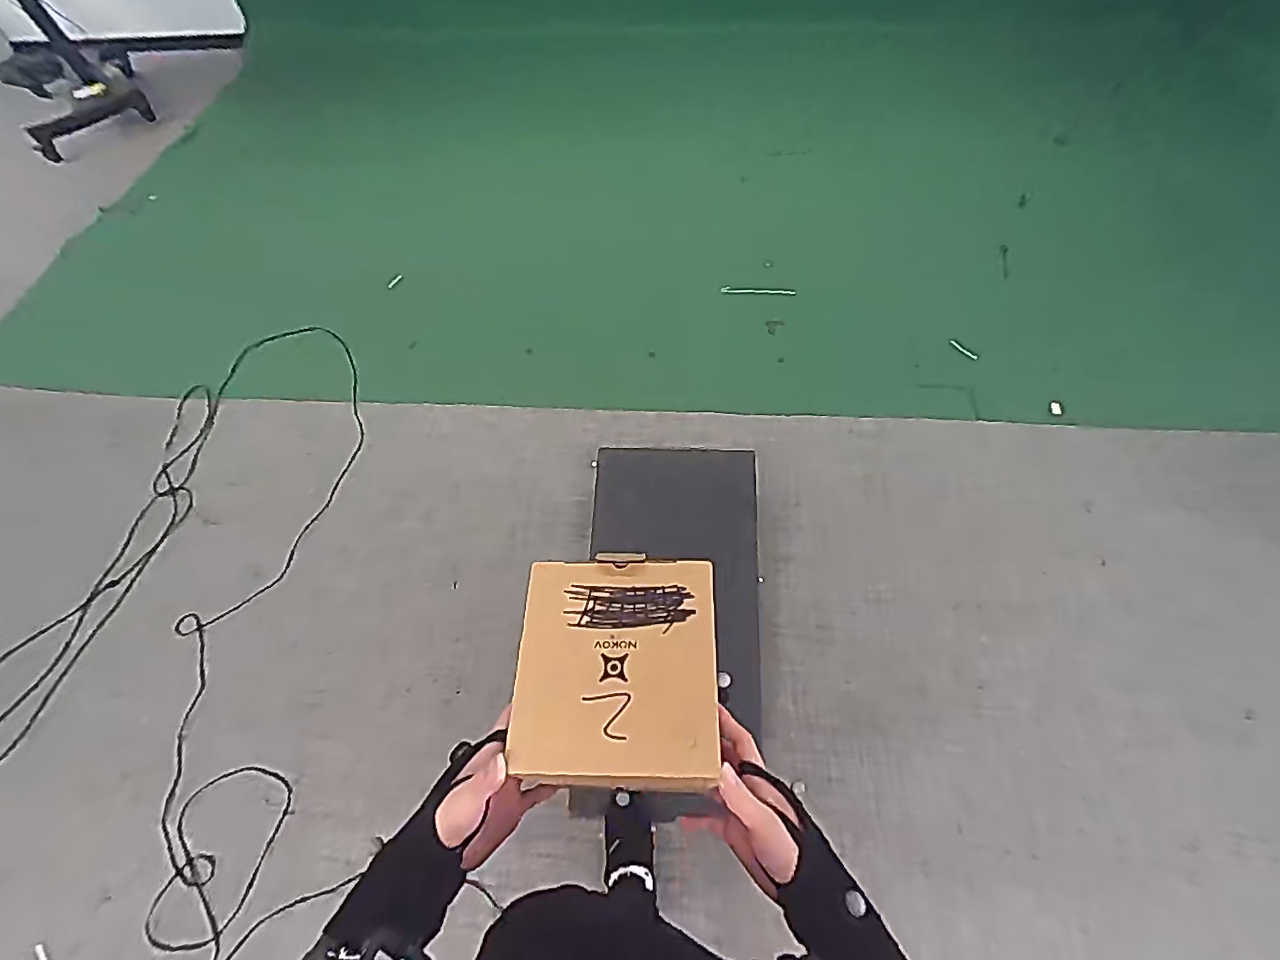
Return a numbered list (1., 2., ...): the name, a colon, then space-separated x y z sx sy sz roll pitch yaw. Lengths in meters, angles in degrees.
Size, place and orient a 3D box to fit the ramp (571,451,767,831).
1. ramp: 0.093 0.381 1.501 0.509 0.206 0.991 0 59 2
